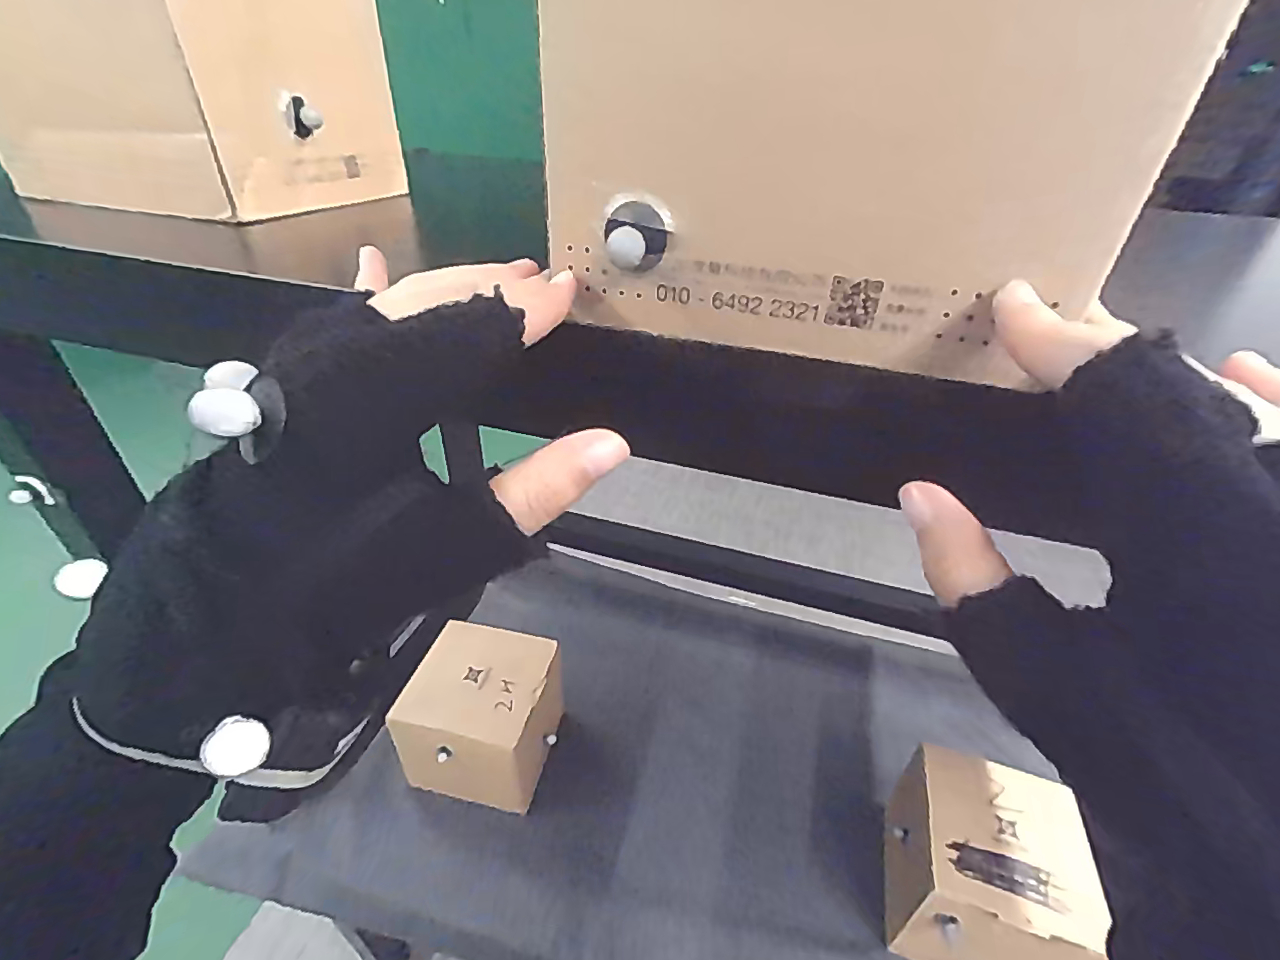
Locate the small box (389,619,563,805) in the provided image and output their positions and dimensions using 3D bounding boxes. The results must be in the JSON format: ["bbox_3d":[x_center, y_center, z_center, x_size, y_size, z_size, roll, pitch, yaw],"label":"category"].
[{"bbox_3d":[-0.220,0.331,0.774,0.179,0.176,0.168,10,35,9],"label":"small box"}]
